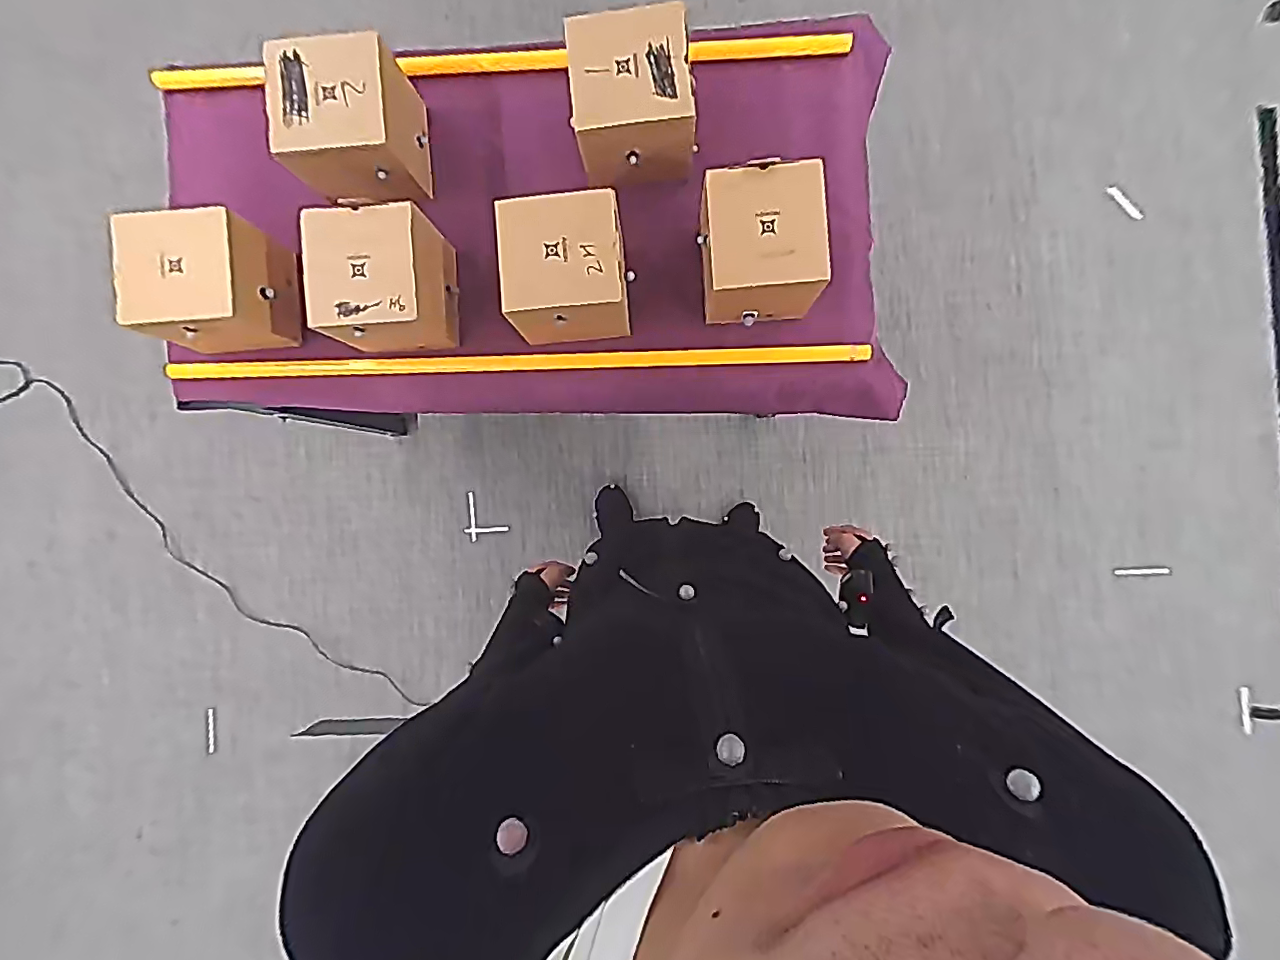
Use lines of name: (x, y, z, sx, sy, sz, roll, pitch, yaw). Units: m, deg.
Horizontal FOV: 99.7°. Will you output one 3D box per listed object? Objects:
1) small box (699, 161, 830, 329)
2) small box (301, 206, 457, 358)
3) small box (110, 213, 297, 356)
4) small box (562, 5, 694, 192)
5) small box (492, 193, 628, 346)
small box: (0.180, -0.348, 0.829, 0.168, 0.176, 0.179, -4, 87, 4)
small box: (-0.402, -0.303, 0.857, 0.168, 0.176, 0.179, -3, 89, 4)
small box: (-0.683, -0.303, 0.870, 0.179, 0.176, 0.168, -4, 89, 2)
small box: (-0.014, -0.578, 0.842, 0.179, 0.176, 0.168, -6, 90, 4)
small box: (-0.116, -0.315, 0.843, 0.179, 0.176, 0.168, -4, 88, 3)
